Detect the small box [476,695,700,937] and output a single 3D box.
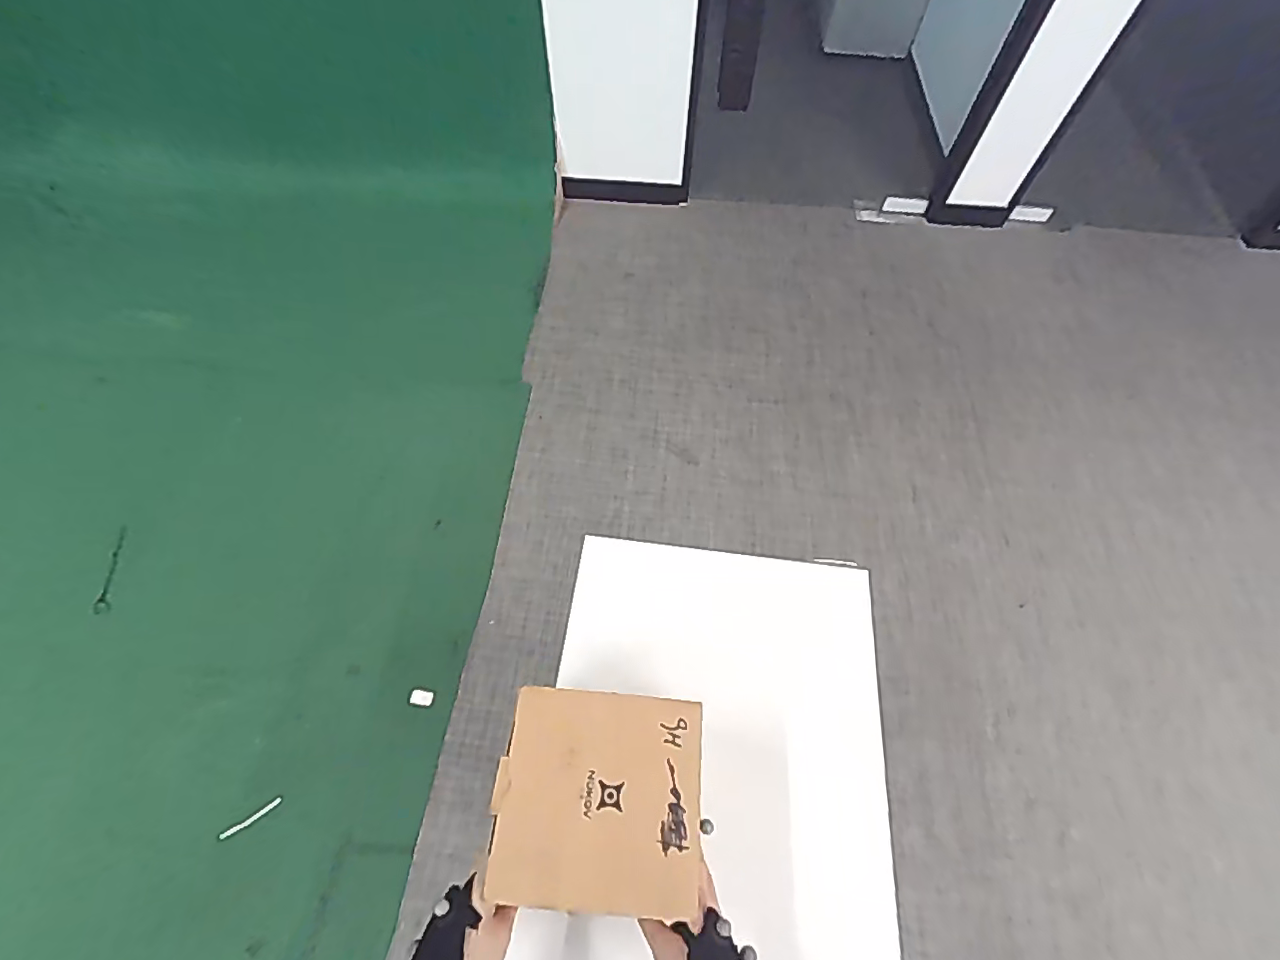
[{"bbox_3d":[-0.039,0.321,0.535,0.179,0.176,0.168,6,60,1],"label":"small box"}]
